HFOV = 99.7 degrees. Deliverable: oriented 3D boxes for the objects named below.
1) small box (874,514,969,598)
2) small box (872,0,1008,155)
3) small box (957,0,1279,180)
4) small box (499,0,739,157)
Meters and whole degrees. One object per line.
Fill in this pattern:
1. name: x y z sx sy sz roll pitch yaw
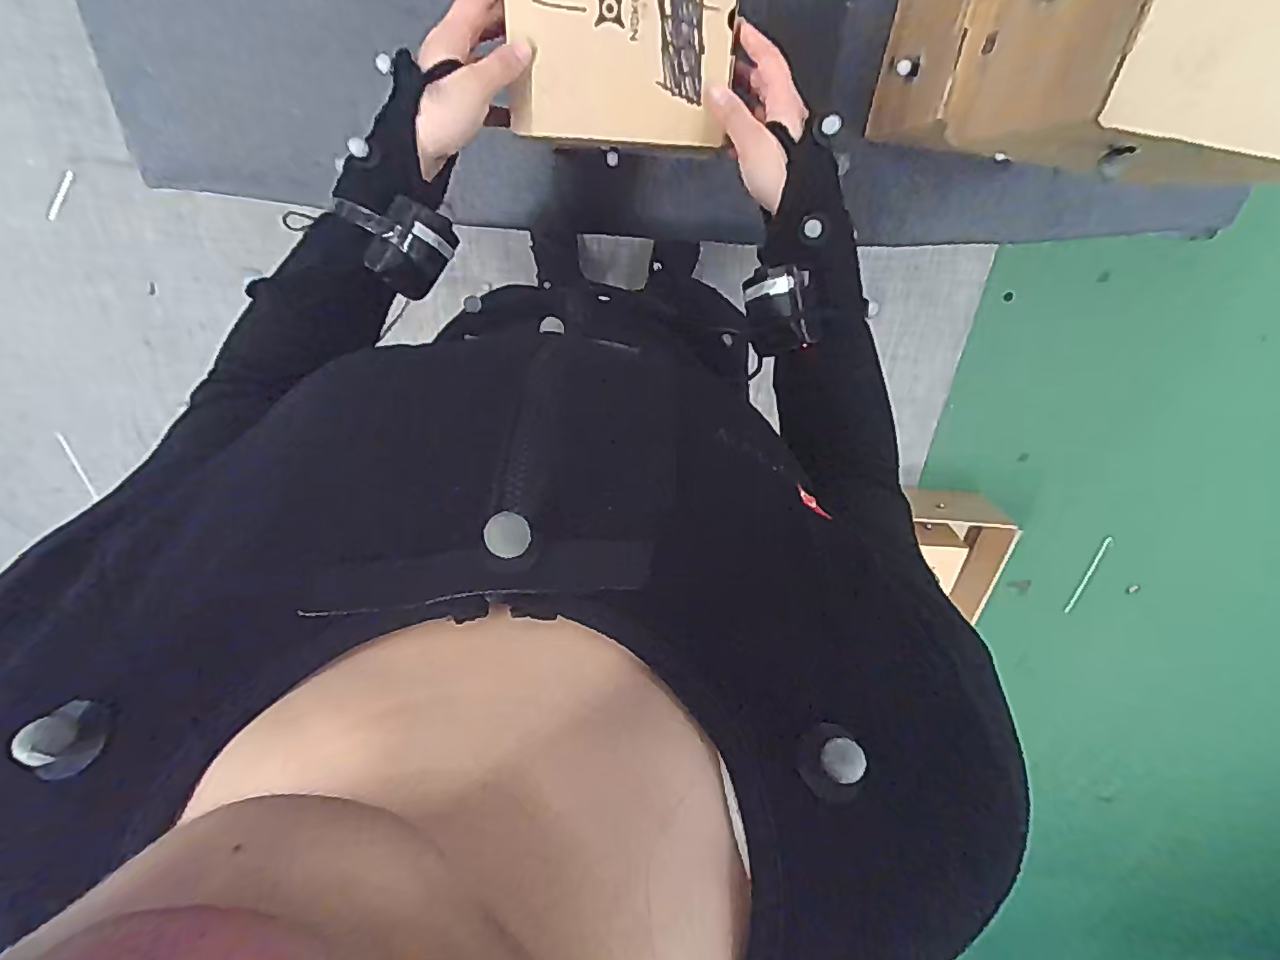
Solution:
1. small box: 0.802 0.216 1.565 0.168 0.176 0.179 4 121 0
2. small box: 0.326 -0.380 0.457 0.179 0.176 0.168 5 119 -3
3. small box: 0.335 -0.285 0.322 0.179 0.176 0.168 9 119 -4
4. small box: -0.014 -0.378 0.461 0.179 0.176 0.168 4 118 0
